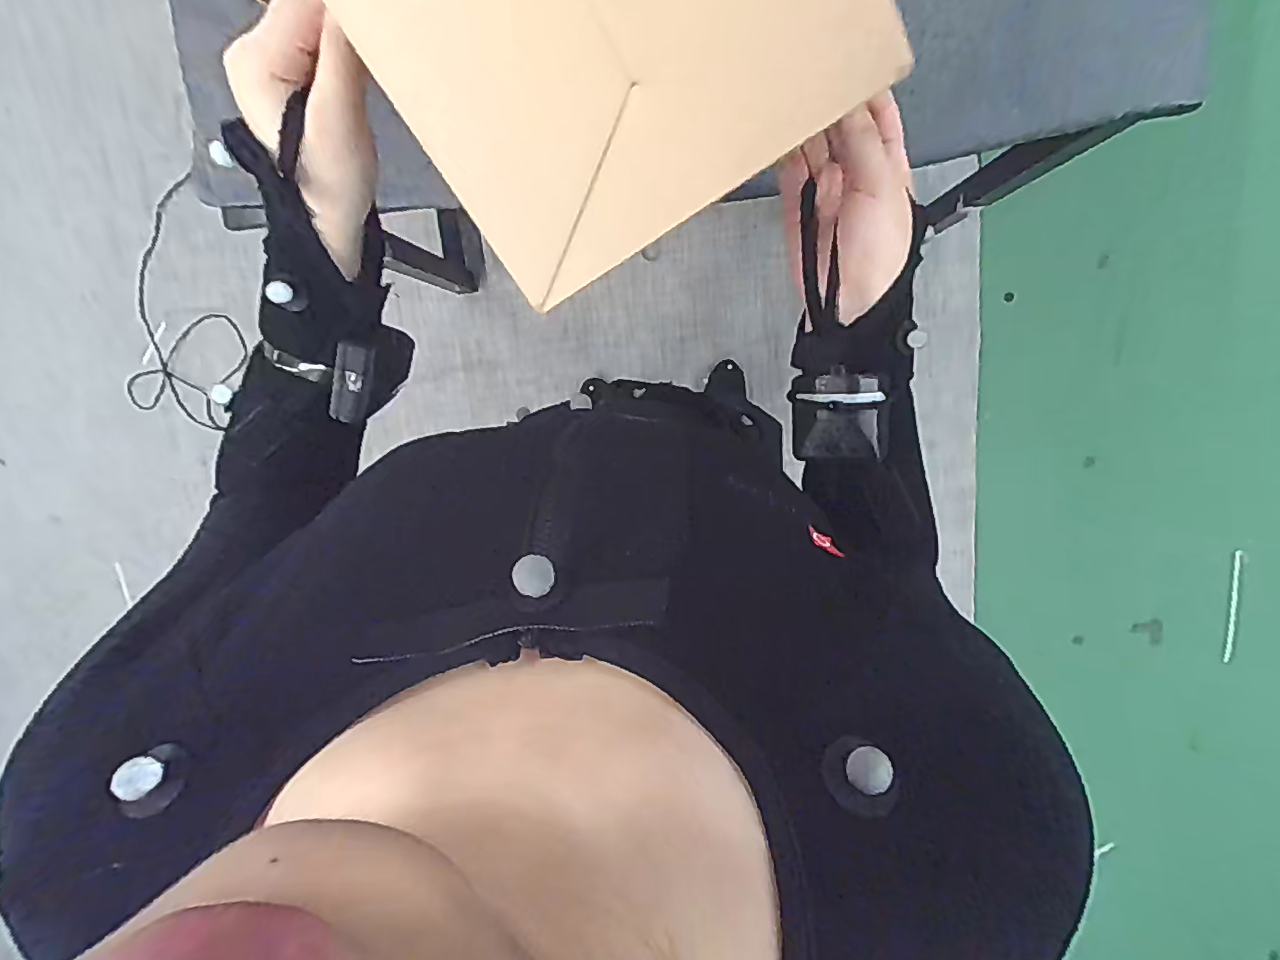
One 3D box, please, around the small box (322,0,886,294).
[{"bbox_3d":[-0.008,-0.212,0.261,0.179,0.176,0.168,-23,118,25],"label":"small box"}]
